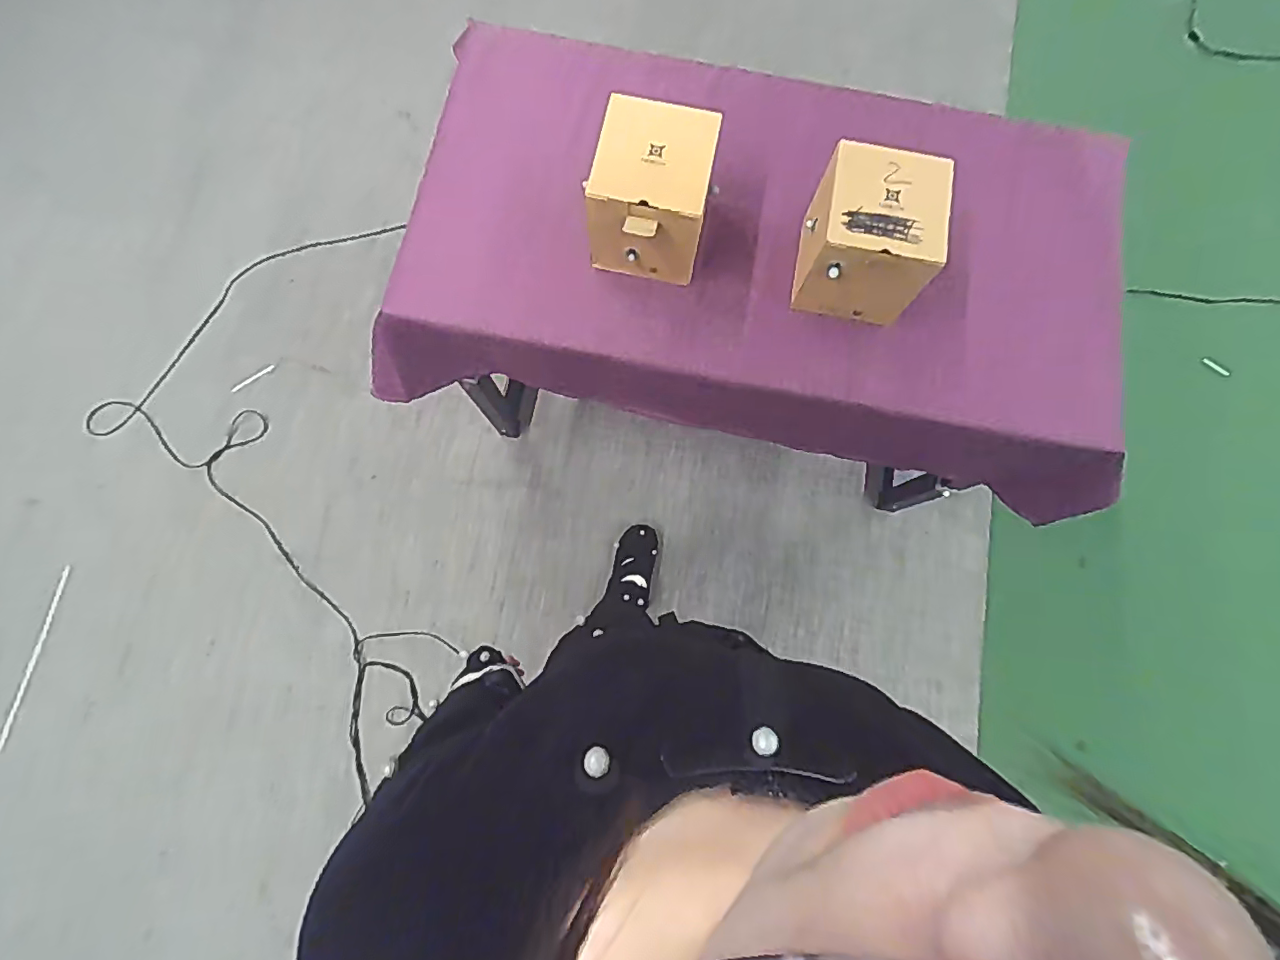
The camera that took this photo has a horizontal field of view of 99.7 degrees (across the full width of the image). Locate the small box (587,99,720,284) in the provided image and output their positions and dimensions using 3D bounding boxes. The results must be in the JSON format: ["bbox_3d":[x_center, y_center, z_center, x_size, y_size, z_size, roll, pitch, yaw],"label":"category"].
[{"bbox_3d":[0.018,-0.443,0.852,0.168,0.176,0.179,11,78,1],"label":"small box"}]
